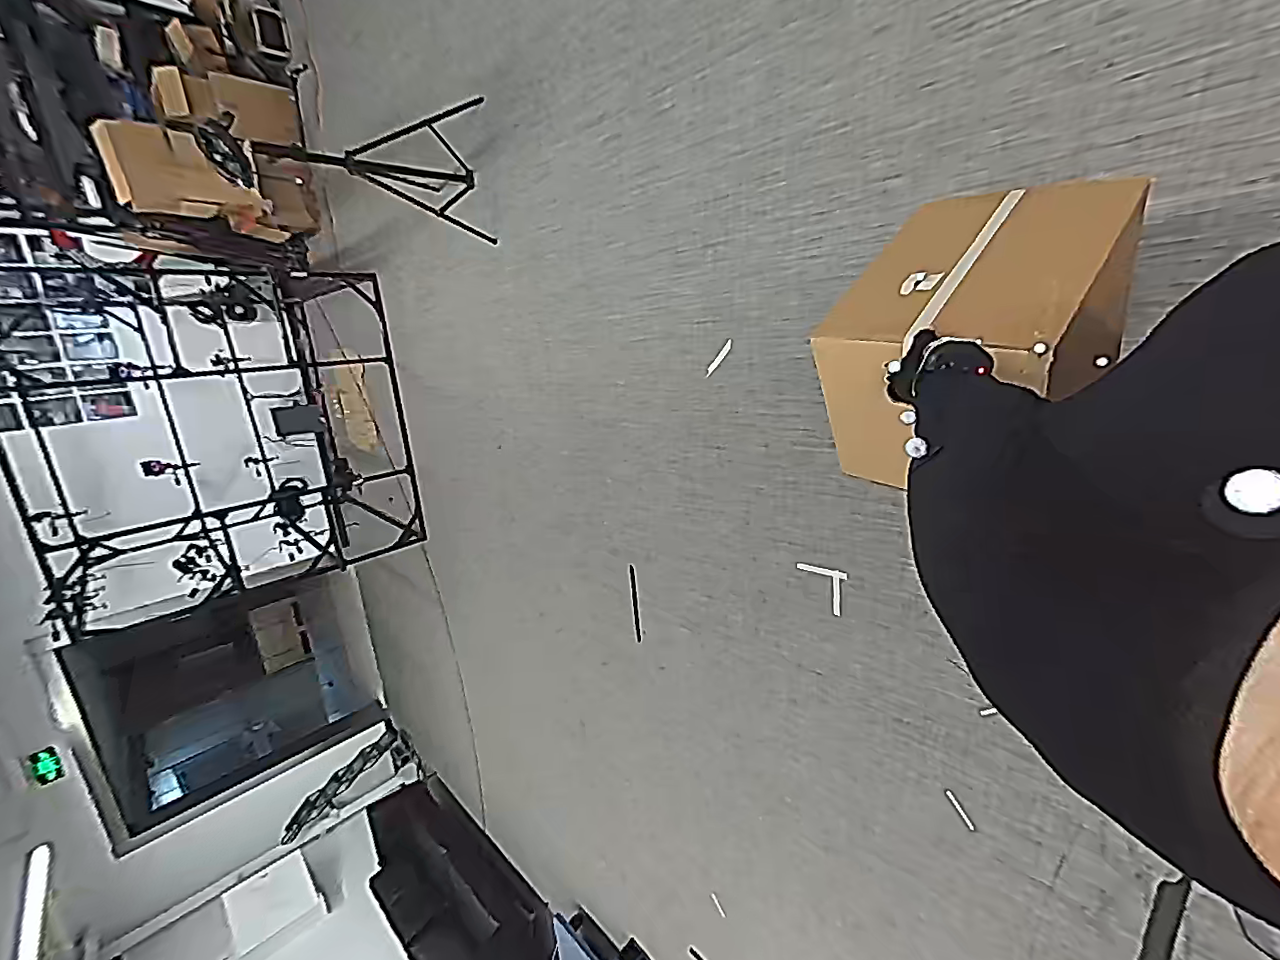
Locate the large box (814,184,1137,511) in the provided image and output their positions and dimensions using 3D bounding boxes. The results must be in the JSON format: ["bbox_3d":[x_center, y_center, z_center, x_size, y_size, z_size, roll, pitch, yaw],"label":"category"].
[{"bbox_3d":[0.553,-0.224,0.903,0.320,0.408,0.320,20,151,45],"label":"large box"}]
